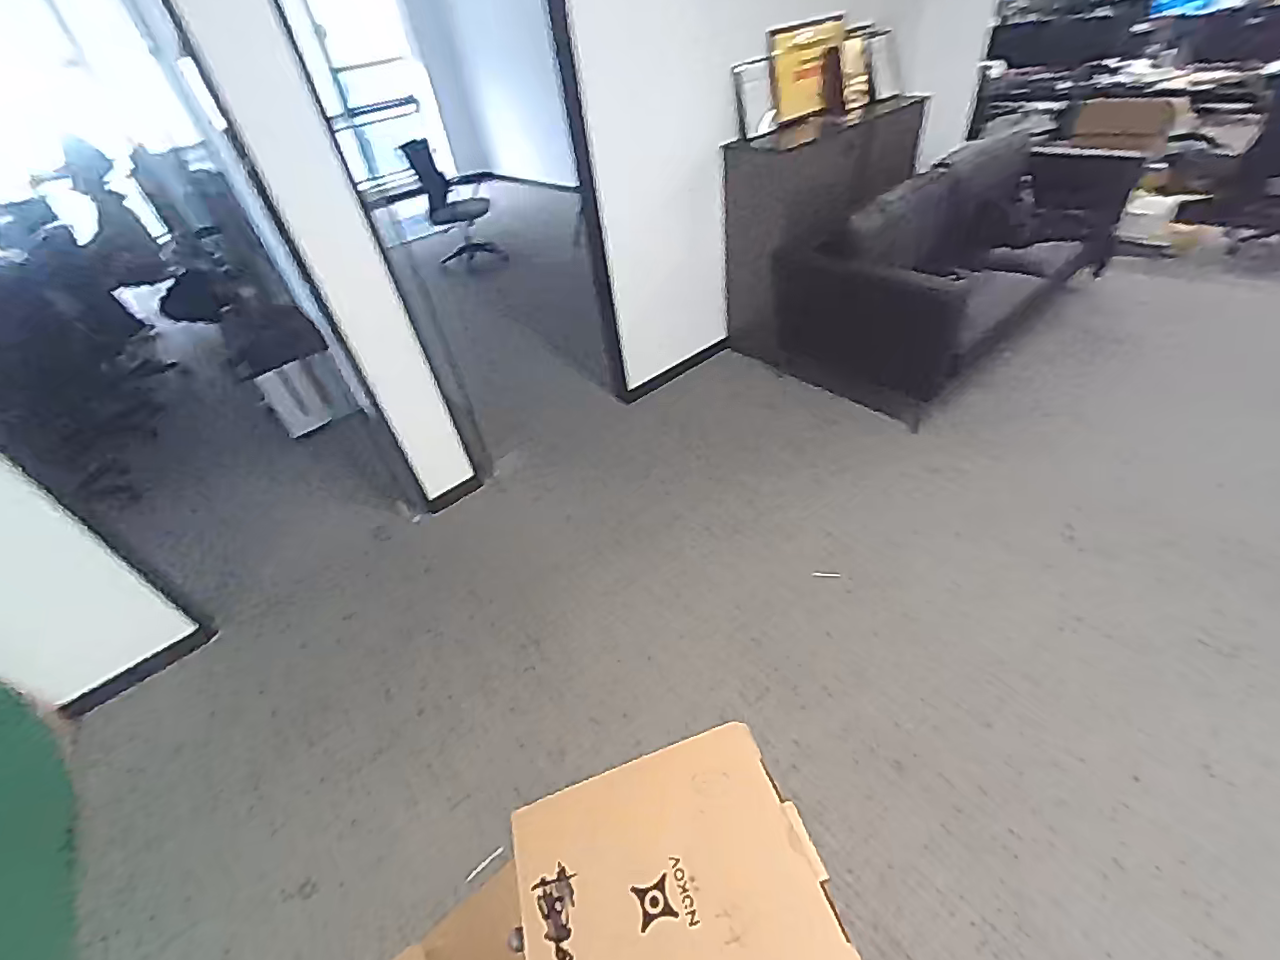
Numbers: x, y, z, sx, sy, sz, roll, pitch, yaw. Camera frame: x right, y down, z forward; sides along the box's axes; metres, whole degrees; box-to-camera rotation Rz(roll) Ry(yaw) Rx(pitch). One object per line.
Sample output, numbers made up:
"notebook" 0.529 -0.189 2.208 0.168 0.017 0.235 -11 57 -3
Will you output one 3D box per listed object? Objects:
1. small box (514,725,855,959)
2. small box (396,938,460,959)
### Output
"small box" 0.028 0.309 0.369 0.179 0.176 0.168 -17 37 -7
"small box" -0.389 0.932 0.907 0.179 0.176 0.168 -28 45 -20
